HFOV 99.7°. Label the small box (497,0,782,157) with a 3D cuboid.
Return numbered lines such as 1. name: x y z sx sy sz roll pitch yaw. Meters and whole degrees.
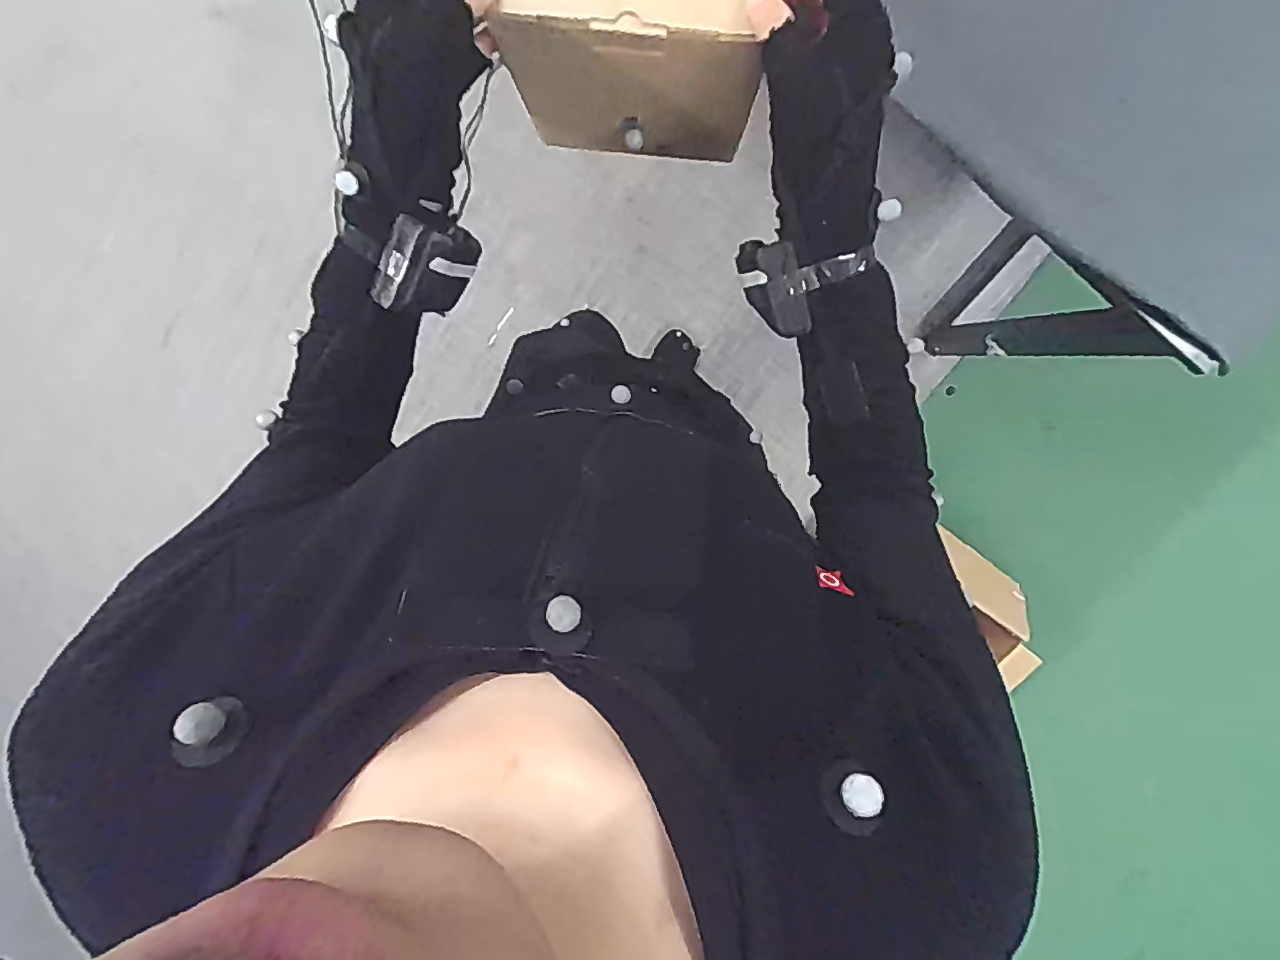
1. small box: 0.007 -0.354 0.365 0.168 0.176 0.179 7 100 0
